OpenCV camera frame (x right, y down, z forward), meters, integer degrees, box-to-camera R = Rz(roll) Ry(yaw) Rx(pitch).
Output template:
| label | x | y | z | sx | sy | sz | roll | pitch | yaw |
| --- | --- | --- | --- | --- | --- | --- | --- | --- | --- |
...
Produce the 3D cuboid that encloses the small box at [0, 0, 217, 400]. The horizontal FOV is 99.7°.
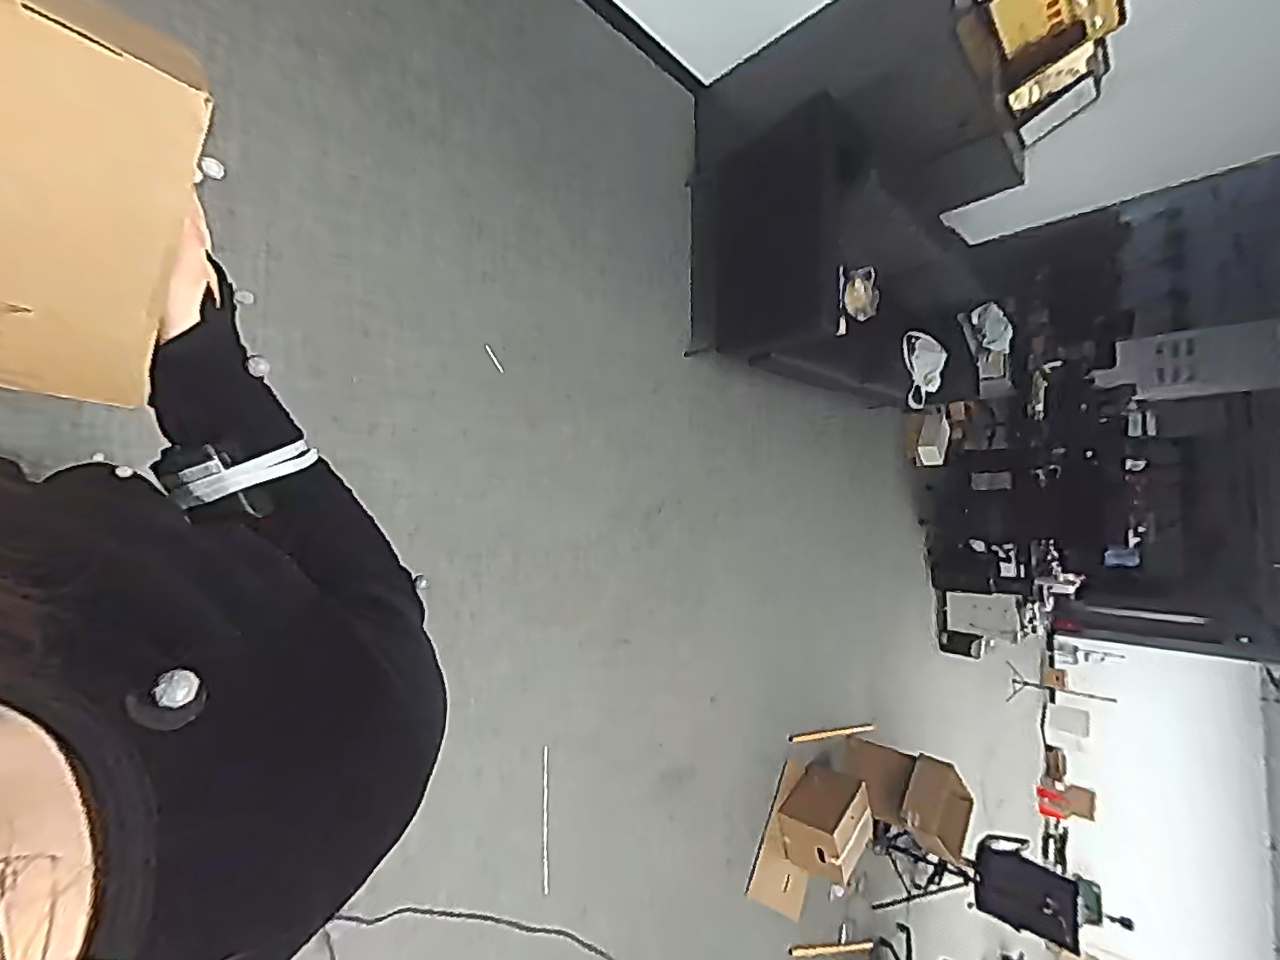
| label | x | y | z | sx | sy | sz | roll | pitch | yaw |
| --- | --- | --- | --- | --- | --- | --- | --- | --- | --- |
| small box | -0.341 | -0.171 | 0.275 | 0.168 | 0.176 | 0.179 | 11 | 118 | -45 |
